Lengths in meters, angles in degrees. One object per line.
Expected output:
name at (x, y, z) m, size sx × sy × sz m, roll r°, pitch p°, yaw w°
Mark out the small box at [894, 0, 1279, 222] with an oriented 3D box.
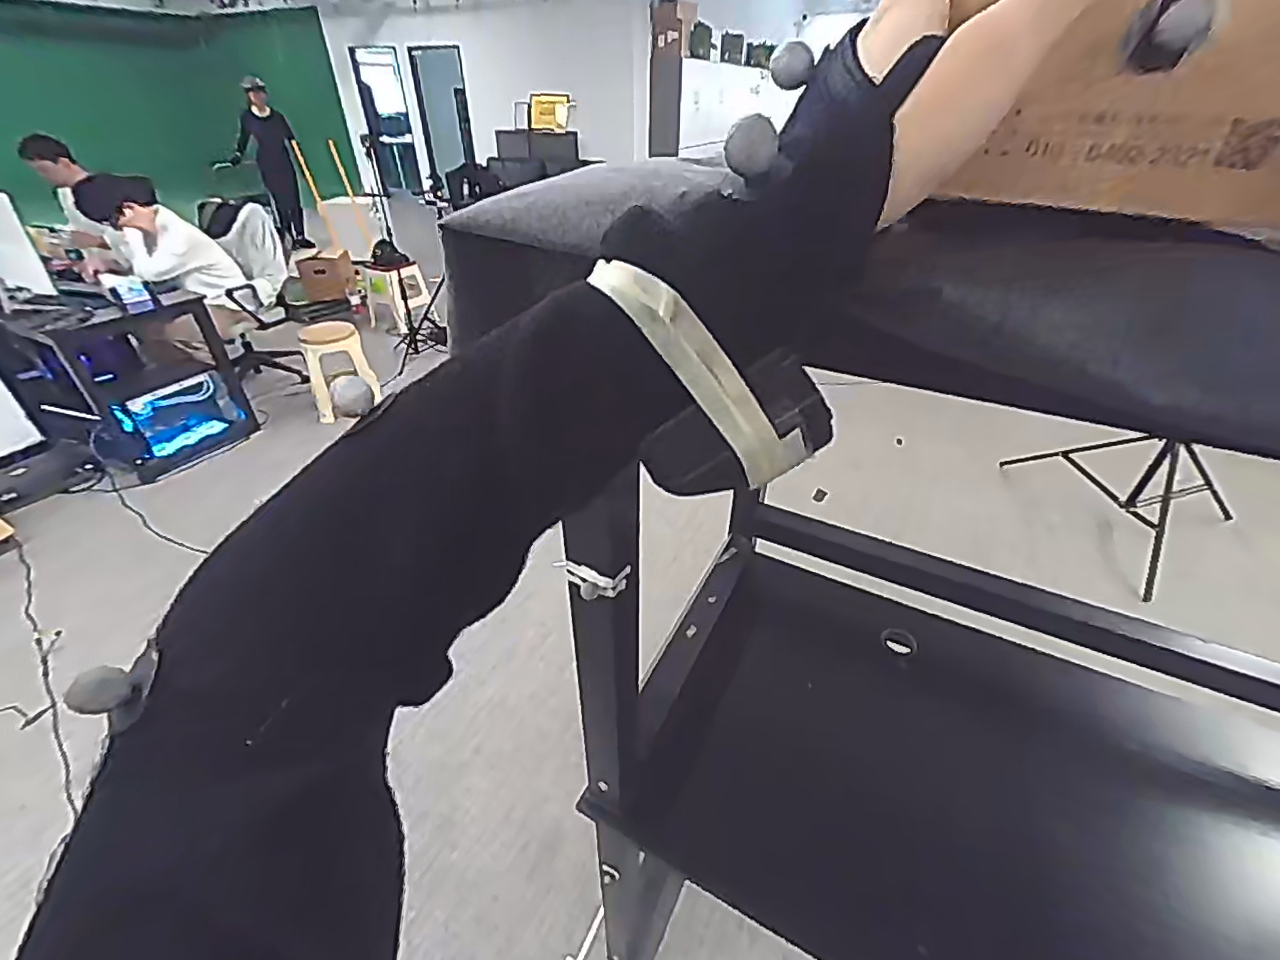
small box at (0.212, -0.207, 0.216) m, size 0.168 × 0.176 × 0.179 m, roll 14°, pitch 30°, yaw 16°
